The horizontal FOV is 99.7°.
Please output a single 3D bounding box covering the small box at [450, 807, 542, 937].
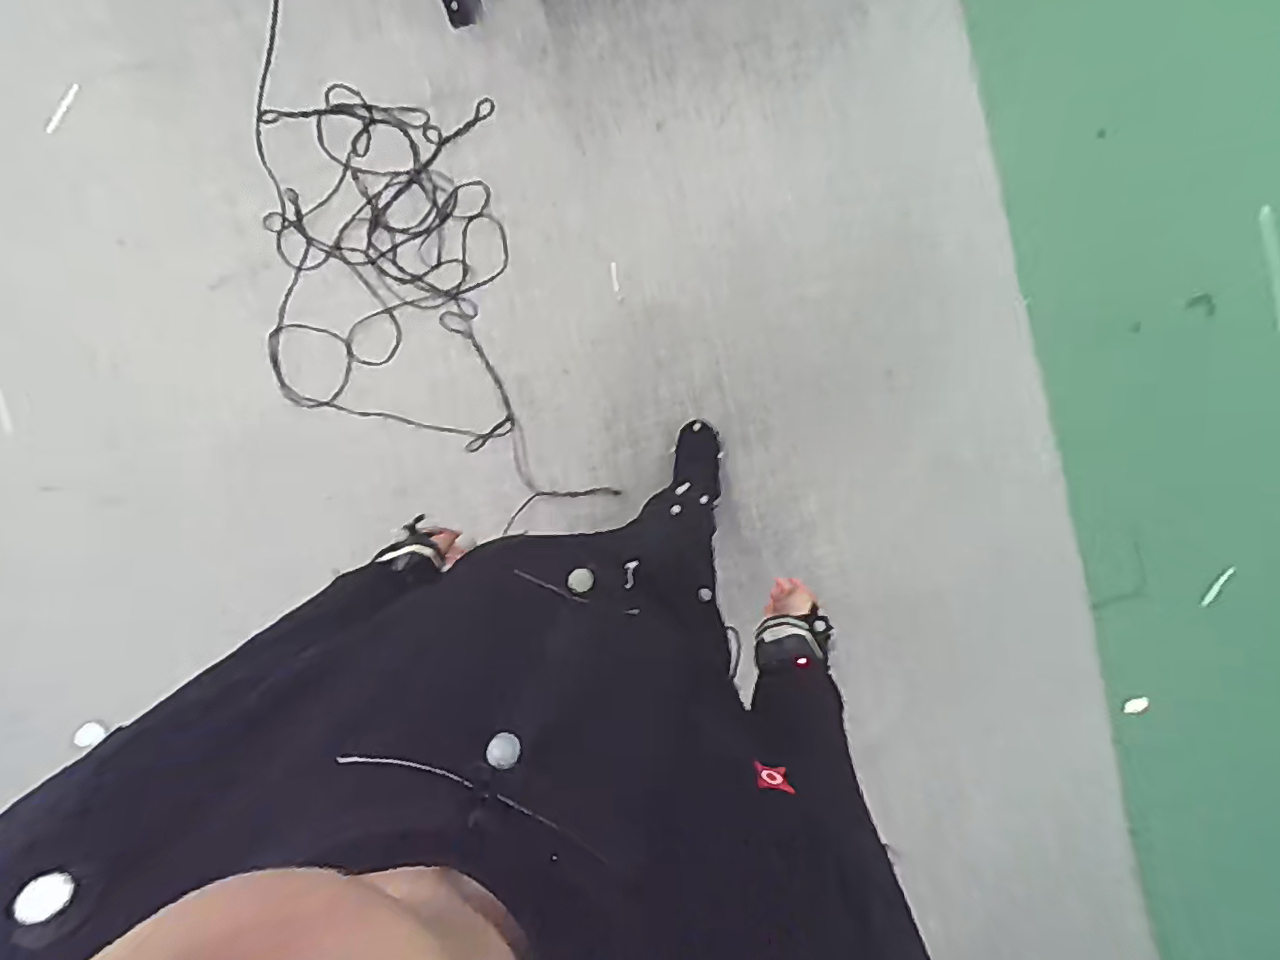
[{"bbox_3d":[-0.331,0.916,1.274,0.168,0.176,0.179,6,90,-1],"label":"small box"}]
